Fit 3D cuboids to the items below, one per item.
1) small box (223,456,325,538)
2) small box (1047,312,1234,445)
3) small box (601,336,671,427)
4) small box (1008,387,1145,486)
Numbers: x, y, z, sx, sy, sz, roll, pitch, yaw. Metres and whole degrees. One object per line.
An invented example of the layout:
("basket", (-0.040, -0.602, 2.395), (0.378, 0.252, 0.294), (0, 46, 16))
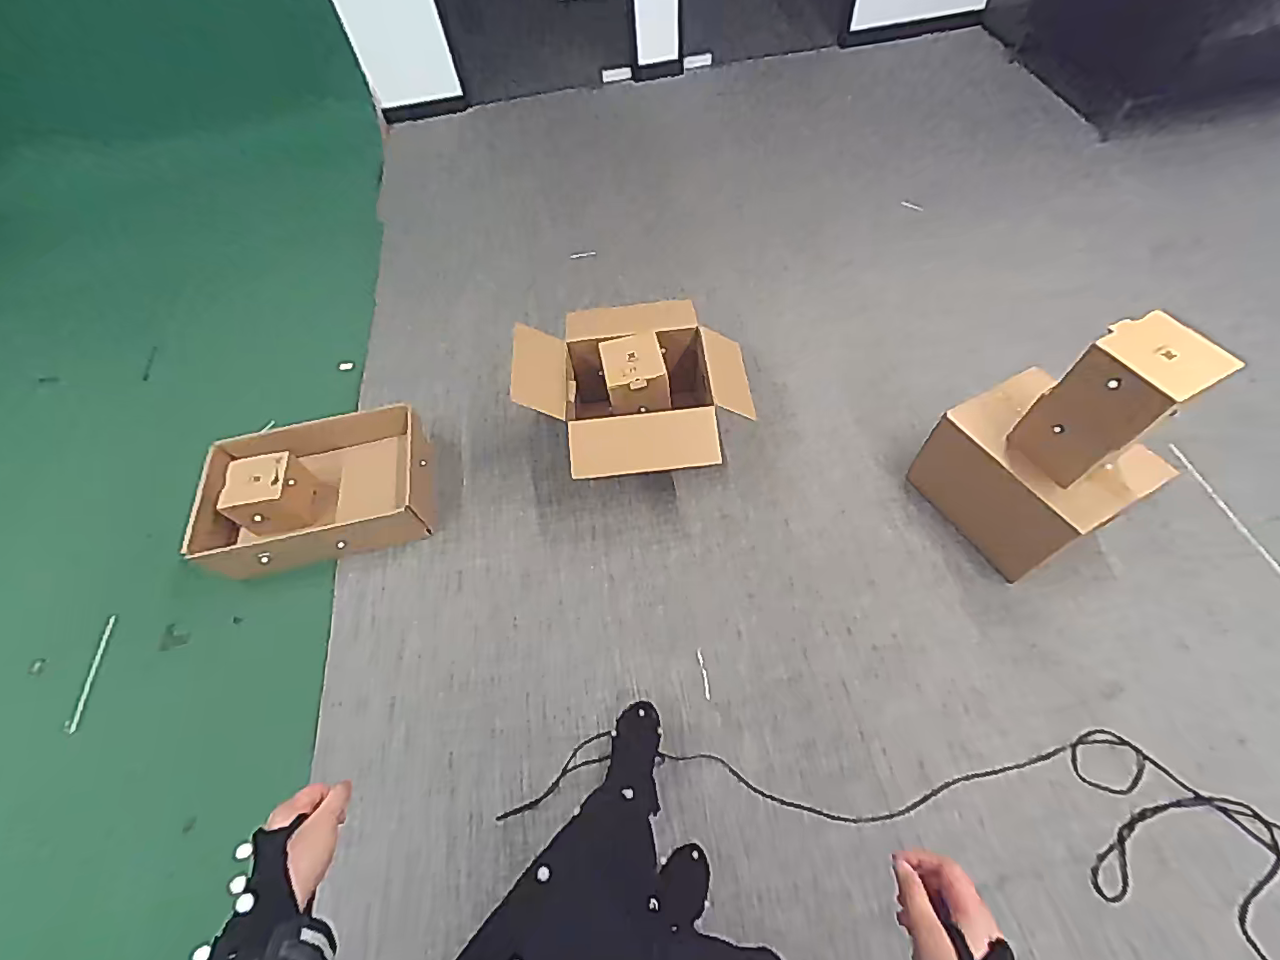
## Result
("small box", (-1.079, 0.055, 1.608), (0.179, 0.176, 0.168), (-11, 57, -2))
("small box", (0.984, -0.193, 1.084), (0.168, 0.176, 0.179), (-26, 59, -9))
("small box", (-0.009, -0.282, 1.562), (0.168, 0.176, 0.179), (-13, 58, 0))
("small box", (0.994, -0.118, 1.228), (0.168, 0.176, 0.179), (-27, 60, -10))
